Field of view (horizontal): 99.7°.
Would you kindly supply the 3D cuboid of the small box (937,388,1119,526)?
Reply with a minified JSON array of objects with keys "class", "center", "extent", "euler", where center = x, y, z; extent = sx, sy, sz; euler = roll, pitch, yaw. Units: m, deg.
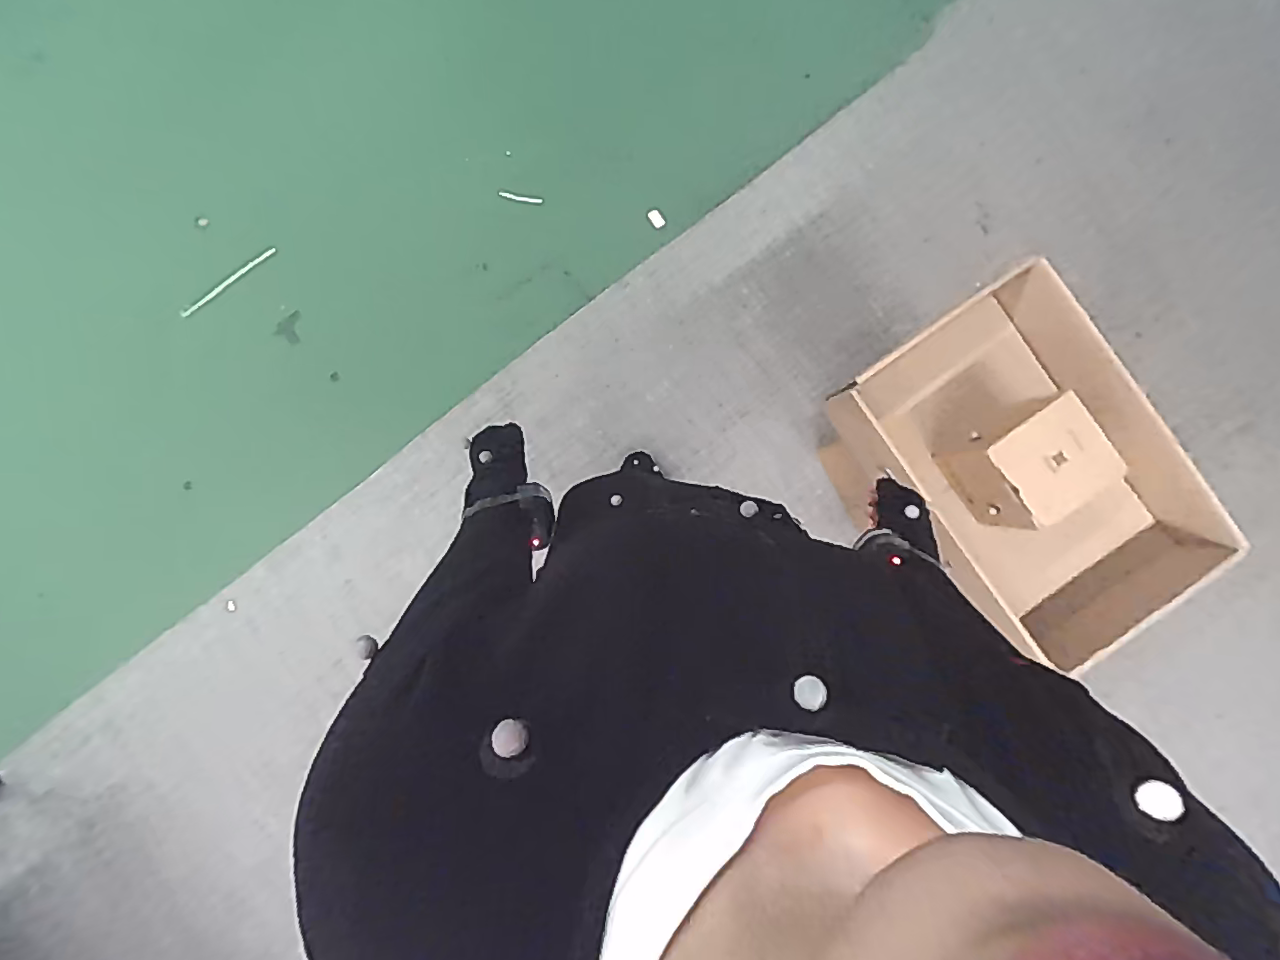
[{"class":"small box","center":[0.672,-0.036,0.967],"extent":[0.179,0.176,0.168],"euler":[-36,91,-3]}]
